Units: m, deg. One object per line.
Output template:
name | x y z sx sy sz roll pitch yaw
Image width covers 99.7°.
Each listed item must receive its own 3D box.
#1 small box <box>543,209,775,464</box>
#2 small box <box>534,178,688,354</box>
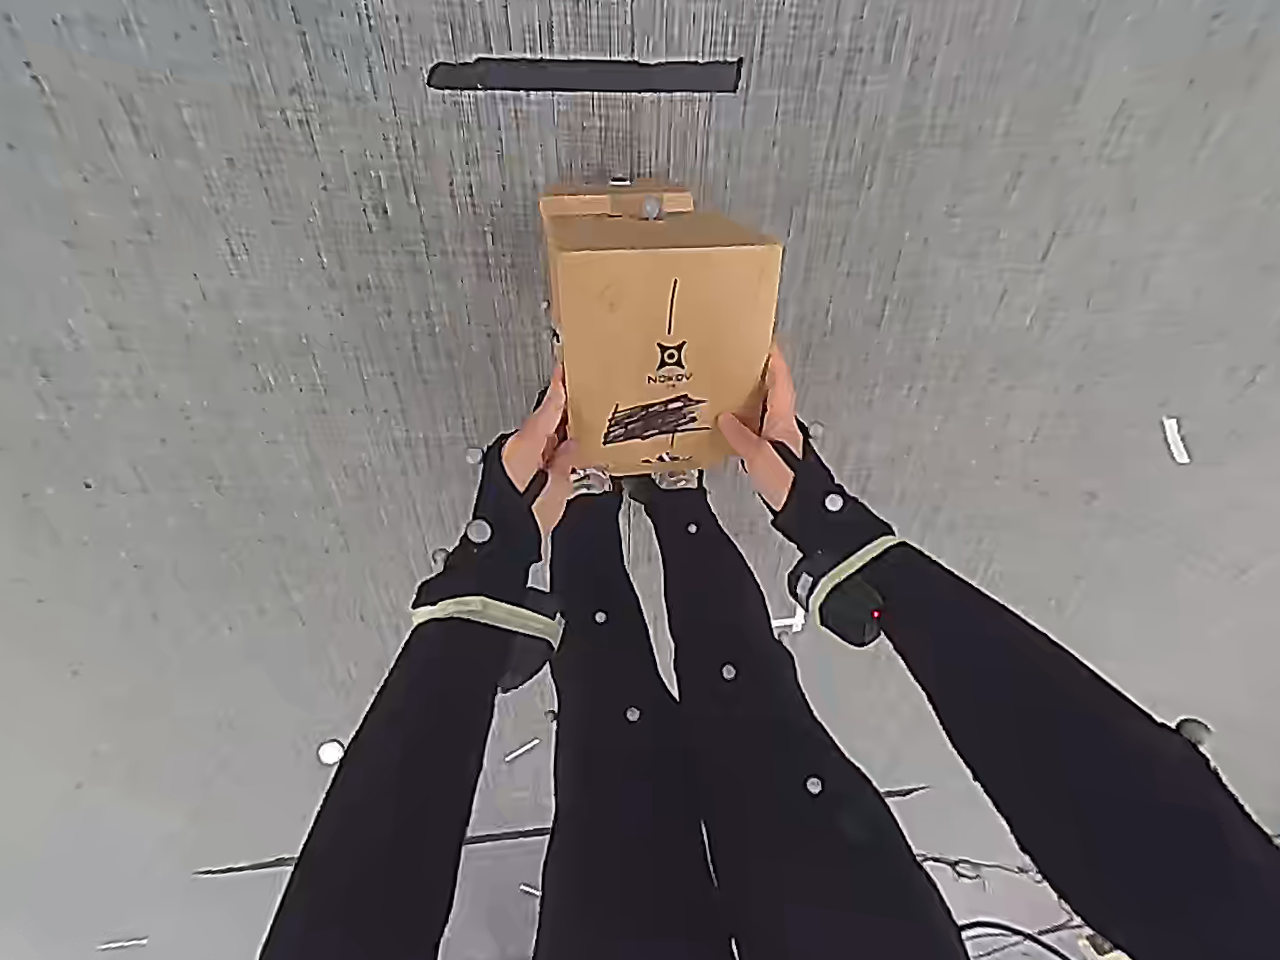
small box | 0.003 -0.136 0.489 0.168 0.176 0.179 -6 124 -9
small box | -0.038 -0.270 0.678 0.168 0.176 0.179 -5 123 -6
